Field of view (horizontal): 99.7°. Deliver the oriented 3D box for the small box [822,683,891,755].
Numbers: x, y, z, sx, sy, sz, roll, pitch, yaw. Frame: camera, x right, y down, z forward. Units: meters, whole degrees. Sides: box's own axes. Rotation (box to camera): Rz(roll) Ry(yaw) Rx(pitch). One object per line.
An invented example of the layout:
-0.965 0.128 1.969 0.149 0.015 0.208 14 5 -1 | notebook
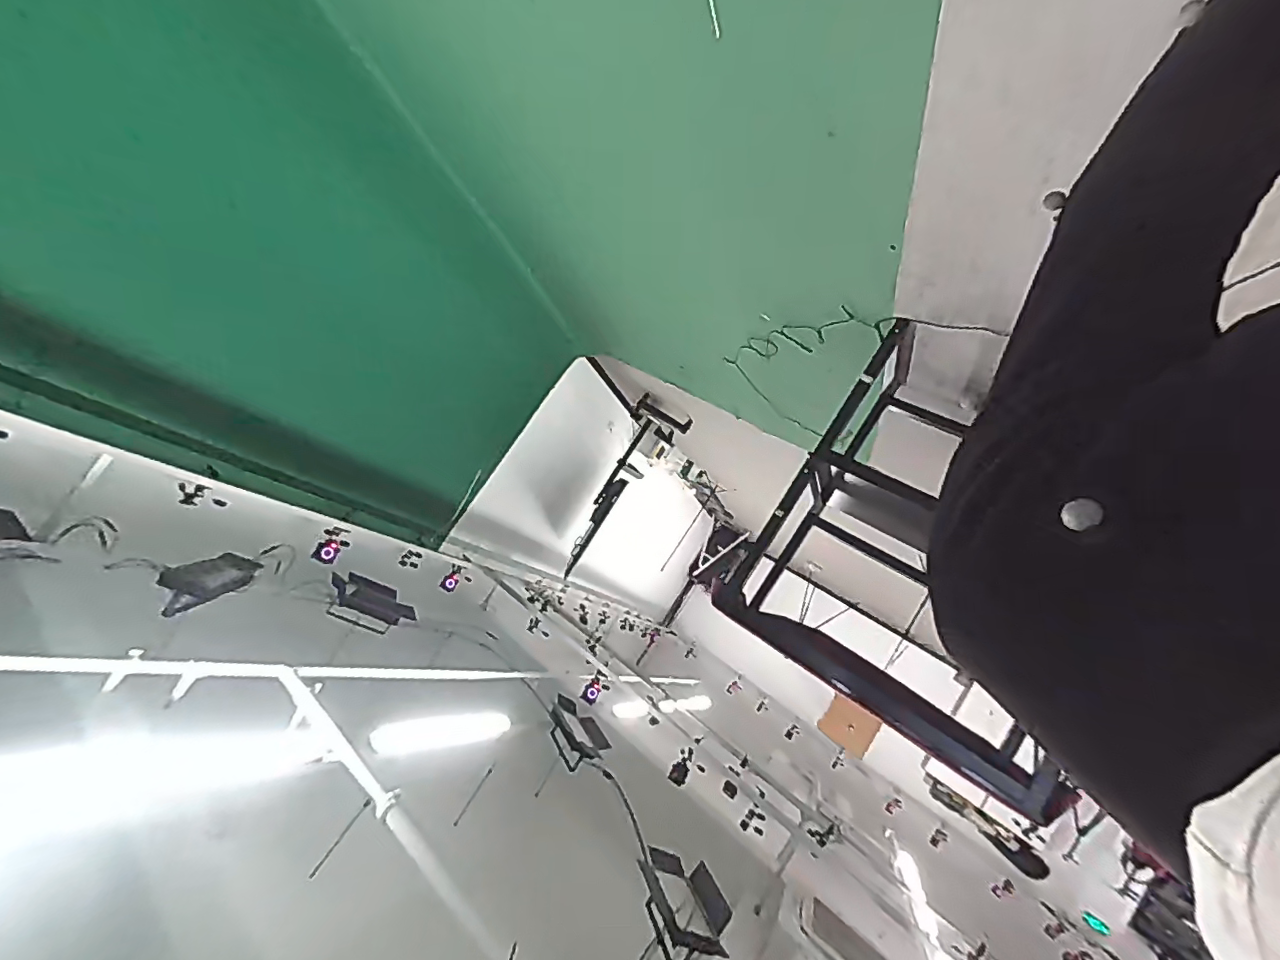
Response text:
0.793 0.871 1.993 0.179 0.176 0.168 31 175 24 | small box
